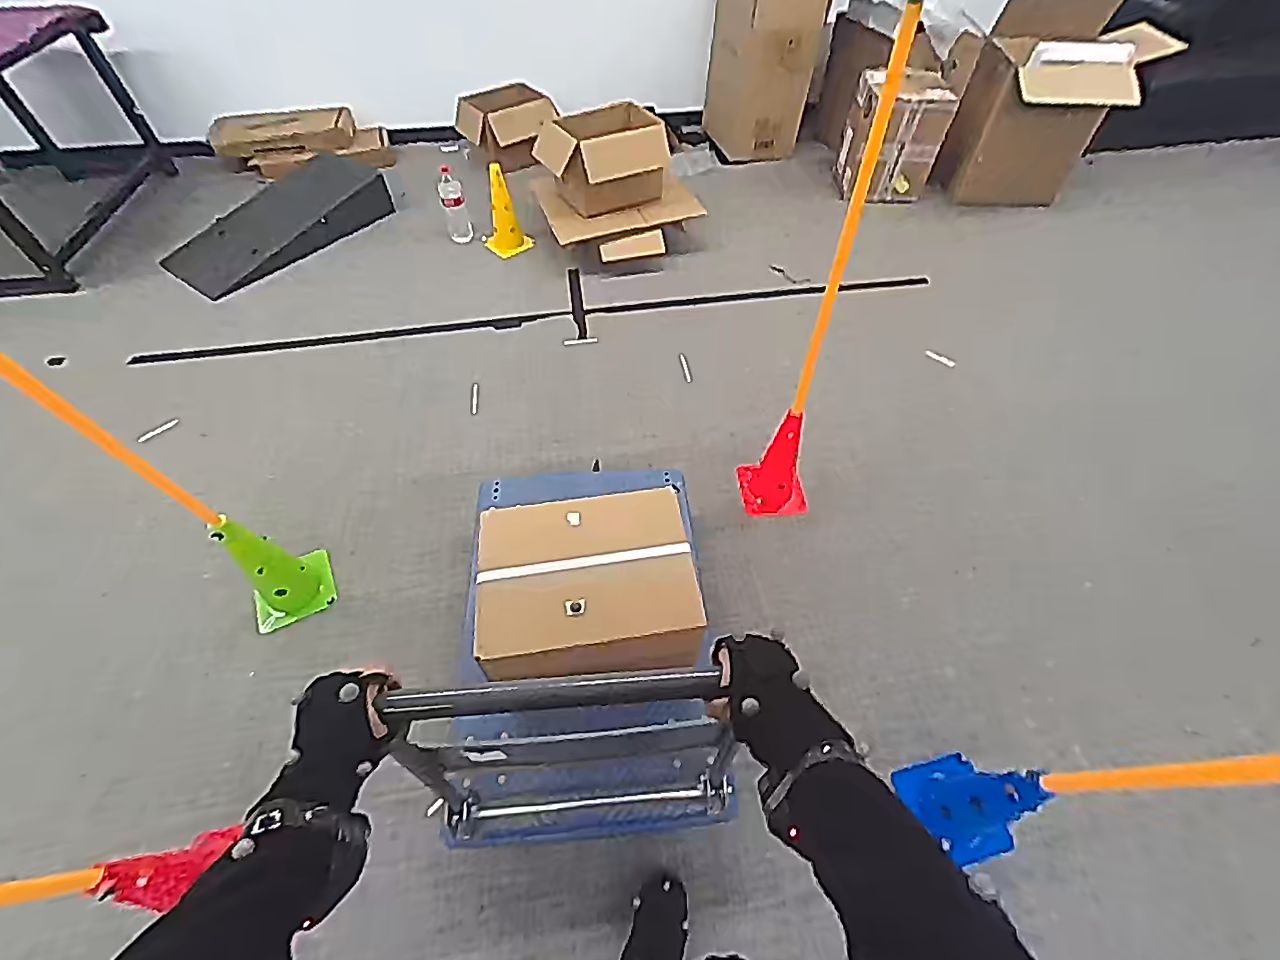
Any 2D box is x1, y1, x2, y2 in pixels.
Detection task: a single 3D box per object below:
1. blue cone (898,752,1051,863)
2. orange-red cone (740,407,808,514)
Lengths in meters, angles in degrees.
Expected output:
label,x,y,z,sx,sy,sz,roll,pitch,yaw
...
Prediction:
label,x,y,z,sx,sy,sz,roll,pitch,yaw
blue cone,0.694,0.623,1.072,0.193,0.380,0.192,-10,52,-8
orange-red cone,0.427,-0.078,1.589,0.199,0.360,0.198,-1,53,-3
